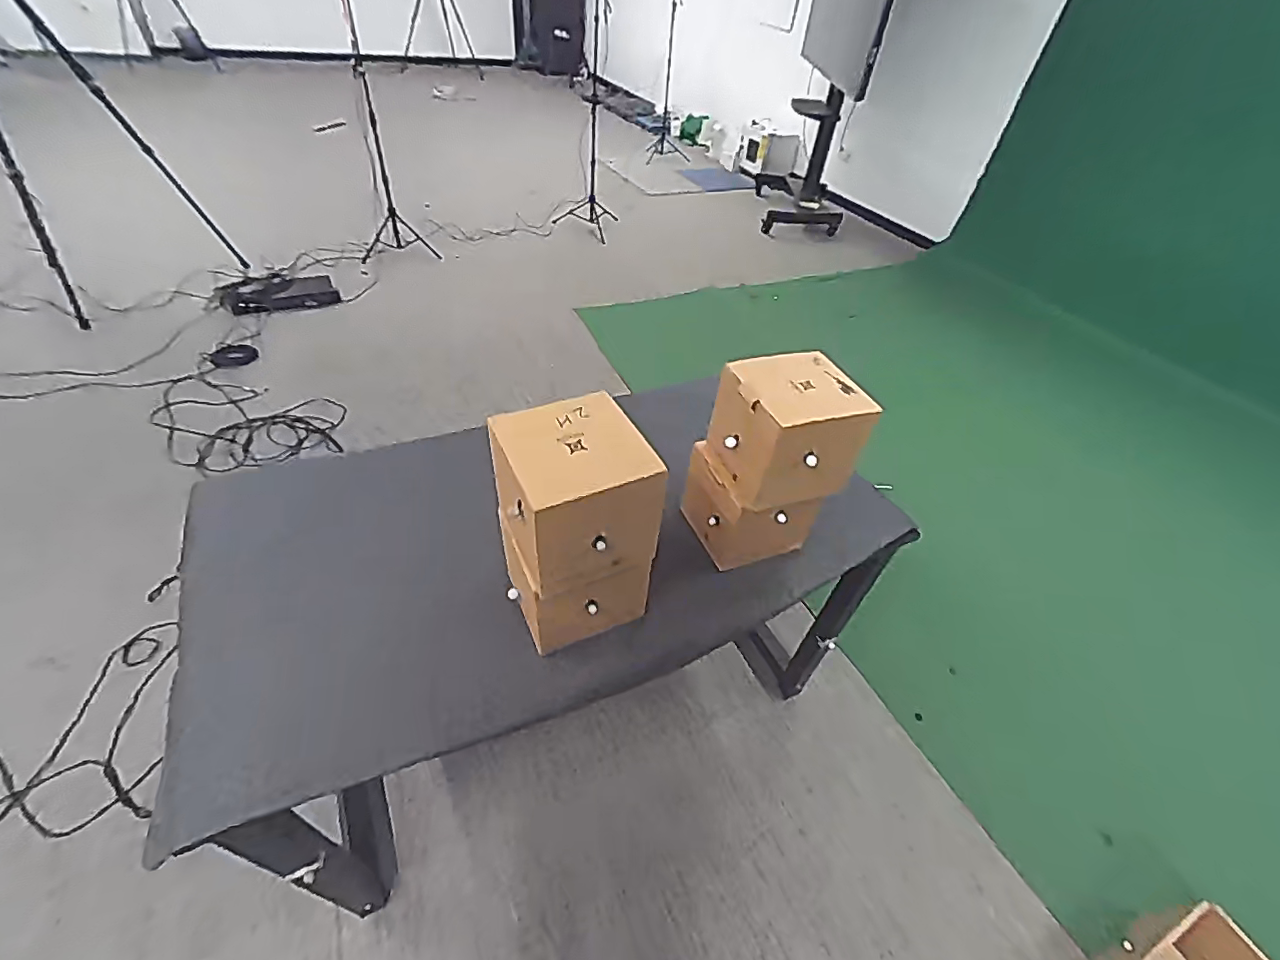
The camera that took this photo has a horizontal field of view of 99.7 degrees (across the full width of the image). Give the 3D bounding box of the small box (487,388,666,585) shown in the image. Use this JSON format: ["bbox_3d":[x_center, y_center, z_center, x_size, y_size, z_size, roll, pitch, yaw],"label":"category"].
[{"bbox_3d":[-0.084,0.012,0.693,0.168,0.176,0.179,-17,48,-23],"label":"small box"}]

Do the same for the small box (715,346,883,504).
[{"bbox_3d":[0.227,-0.083,0.834,0.179,0.176,0.168,-11,47,-18],"label":"small box"}]

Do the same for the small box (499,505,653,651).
[{"bbox_3d":[-0.099,0.124,0.813,0.179,0.176,0.168,-17,48,-21],"label":"small box"}]

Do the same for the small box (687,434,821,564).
[{"bbox_3d":[0.194,0.025,0.954,0.179,0.176,0.168,-13,48,-21],"label":"small box"}]
